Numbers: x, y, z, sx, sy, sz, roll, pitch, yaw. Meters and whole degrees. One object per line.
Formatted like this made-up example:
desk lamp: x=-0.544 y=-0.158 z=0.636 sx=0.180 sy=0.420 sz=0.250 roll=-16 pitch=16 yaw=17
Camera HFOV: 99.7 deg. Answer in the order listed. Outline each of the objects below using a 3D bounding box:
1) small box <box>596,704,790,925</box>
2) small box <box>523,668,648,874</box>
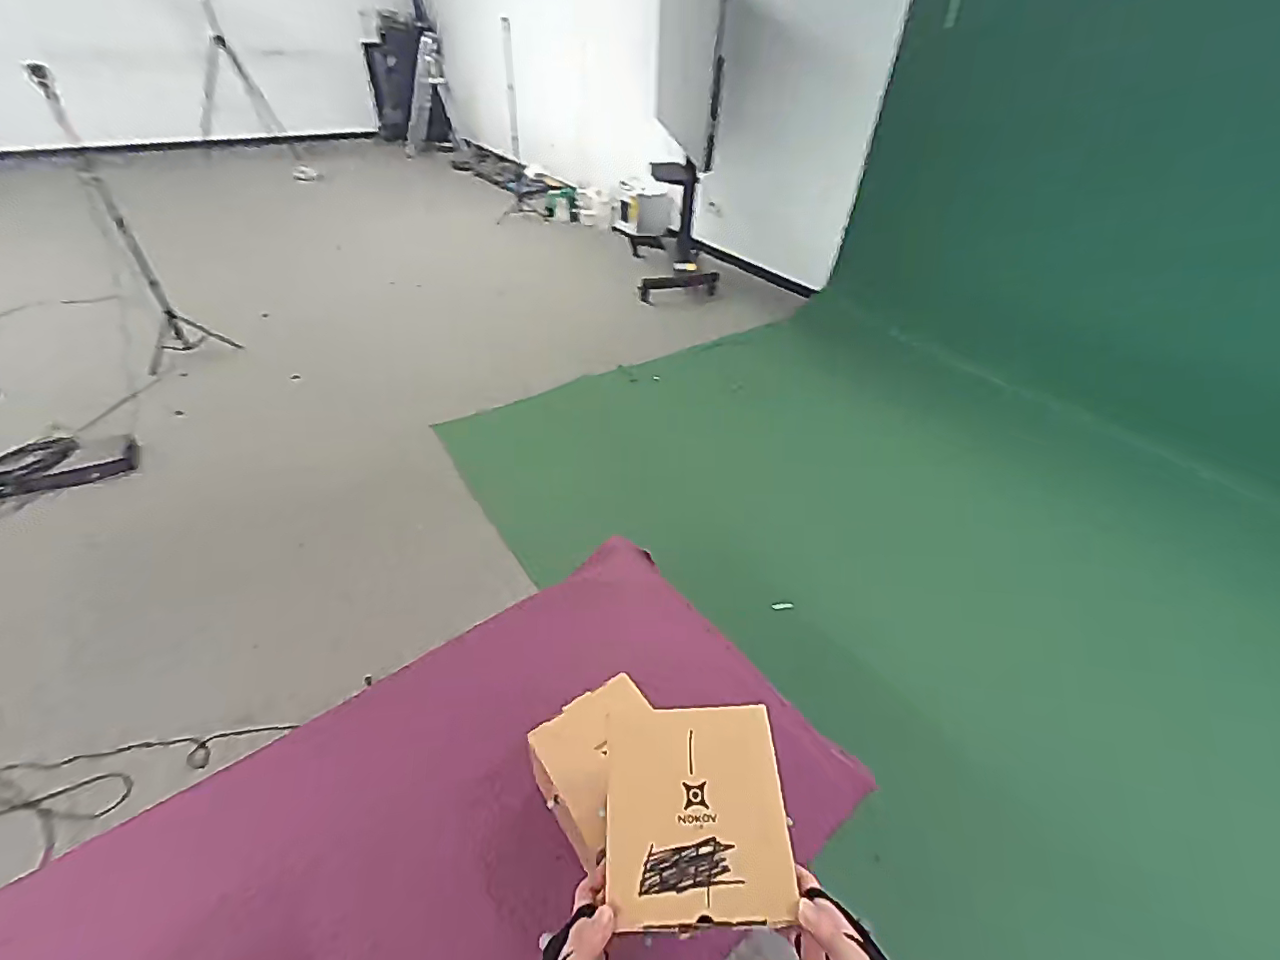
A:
small box: x=0.048 y=0.349 z=0.564 sx=0.168 sy=0.176 sz=0.179 roll=-1 pitch=51 yaw=1
small box: x=-0.053 y=0.417 z=0.780 sx=0.168 sy=0.176 sz=0.179 roll=-24 pitch=49 yaw=-27
